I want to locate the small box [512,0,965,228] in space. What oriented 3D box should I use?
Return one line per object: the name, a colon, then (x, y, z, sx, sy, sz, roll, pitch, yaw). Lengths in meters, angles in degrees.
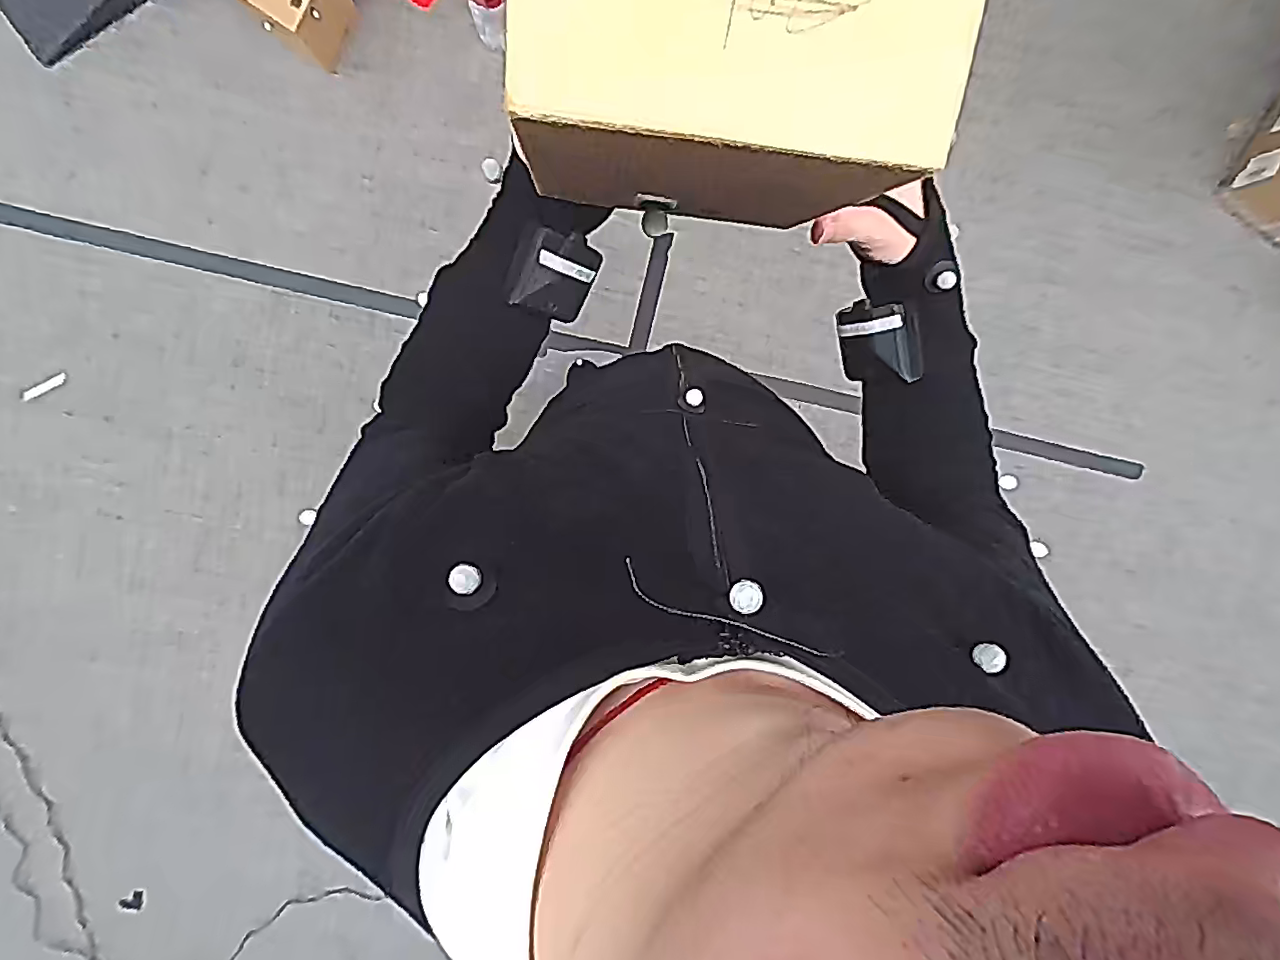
small box: (0.034, -0.235, 0.257, 0.168, 0.176, 0.179, 4, 107, -7)
